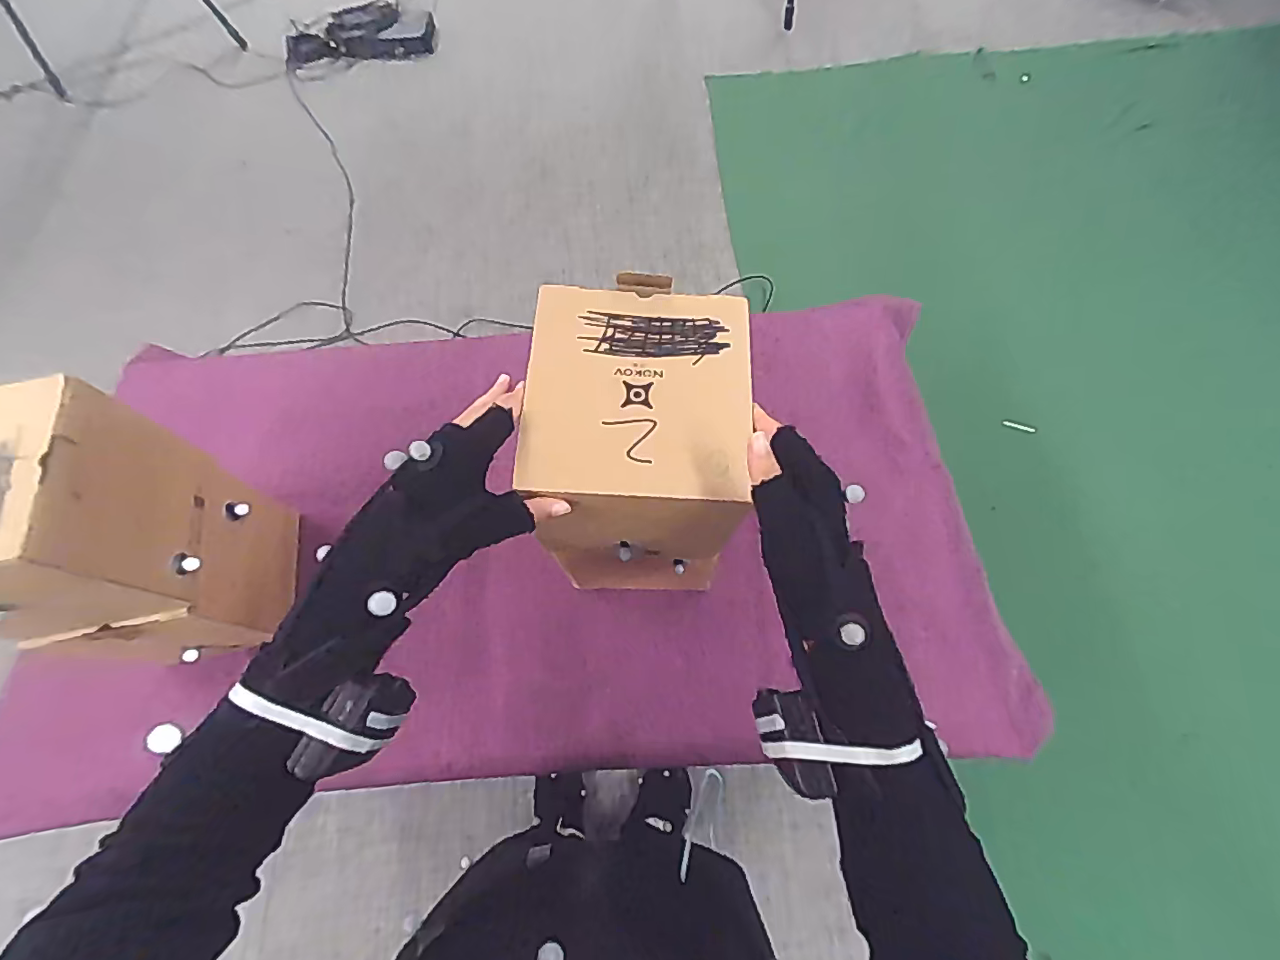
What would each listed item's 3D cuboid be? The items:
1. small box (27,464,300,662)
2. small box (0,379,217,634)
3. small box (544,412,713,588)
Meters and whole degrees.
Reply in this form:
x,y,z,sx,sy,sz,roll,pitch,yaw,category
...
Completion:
x,y,z,sx,sy,sz,roll,pitch,yaw,category
-0.537,0.106,0.643,0.168,0.176,0.179,-12,66,-2,small box
-0.539,0.033,0.492,0.179,0.176,0.168,-9,64,-2,small box
-0.006,0.031,0.650,0.179,0.176,0.168,0,66,3,small box
